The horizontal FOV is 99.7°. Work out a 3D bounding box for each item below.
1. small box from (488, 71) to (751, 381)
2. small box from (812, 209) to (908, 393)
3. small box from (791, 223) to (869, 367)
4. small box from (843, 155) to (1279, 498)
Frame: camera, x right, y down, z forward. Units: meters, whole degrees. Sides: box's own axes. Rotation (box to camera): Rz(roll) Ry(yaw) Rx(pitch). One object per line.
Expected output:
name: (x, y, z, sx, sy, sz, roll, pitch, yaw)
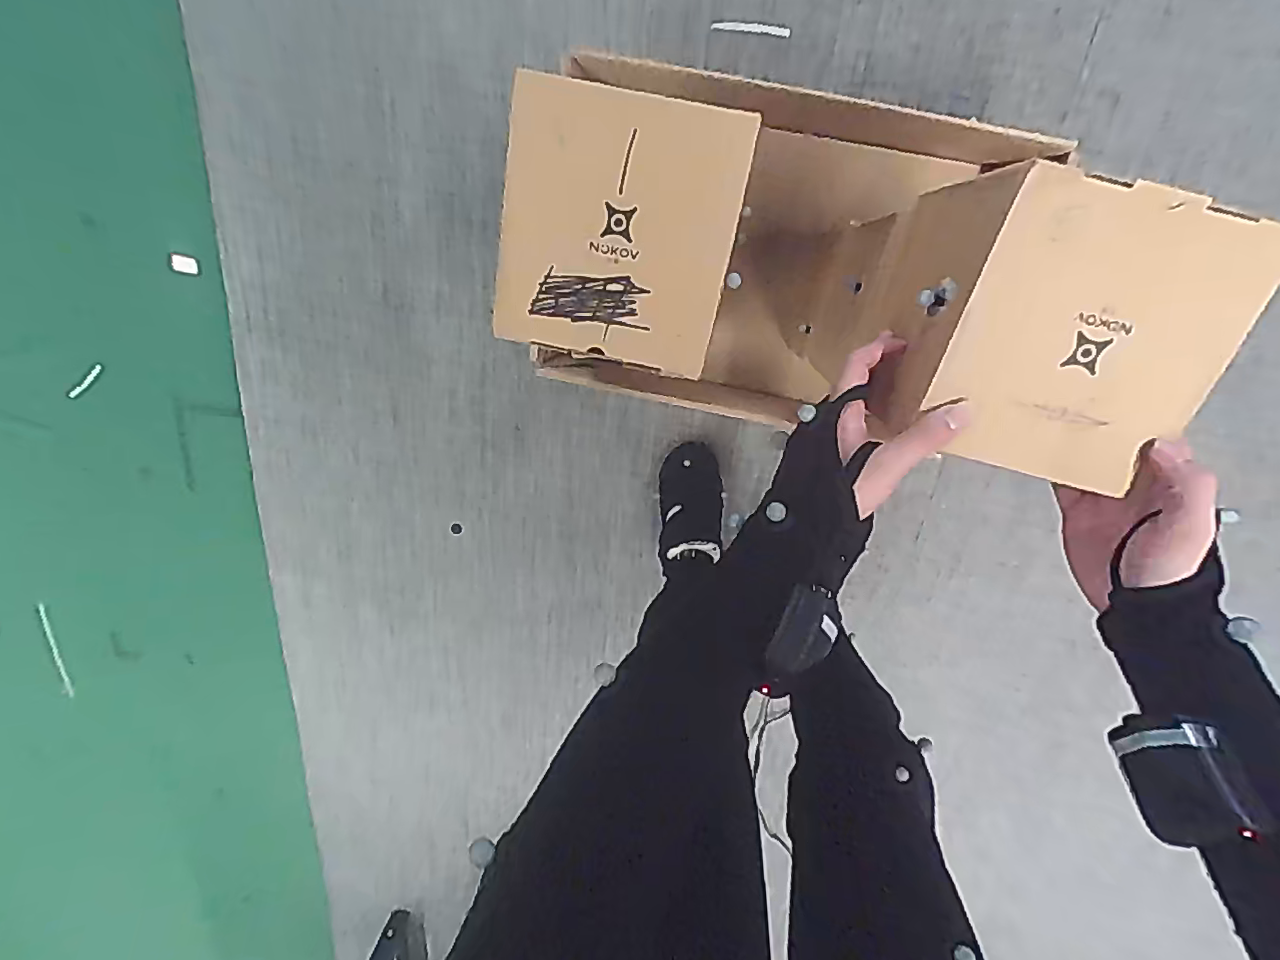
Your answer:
small box: (-0.012, -0.197, 0.454, 0.168, 0.176, 0.179, 12, 110, 2)
small box: (0.305, -0.177, 0.596, 0.168, 0.176, 0.179, 15, 112, 2)
small box: (0.318, -0.239, 0.748, 0.168, 0.176, 0.179, 13, 112, 3)
small box: (0.277, -0.114, 0.410, 0.168, 0.176, 0.179, 15, 112, -1)
